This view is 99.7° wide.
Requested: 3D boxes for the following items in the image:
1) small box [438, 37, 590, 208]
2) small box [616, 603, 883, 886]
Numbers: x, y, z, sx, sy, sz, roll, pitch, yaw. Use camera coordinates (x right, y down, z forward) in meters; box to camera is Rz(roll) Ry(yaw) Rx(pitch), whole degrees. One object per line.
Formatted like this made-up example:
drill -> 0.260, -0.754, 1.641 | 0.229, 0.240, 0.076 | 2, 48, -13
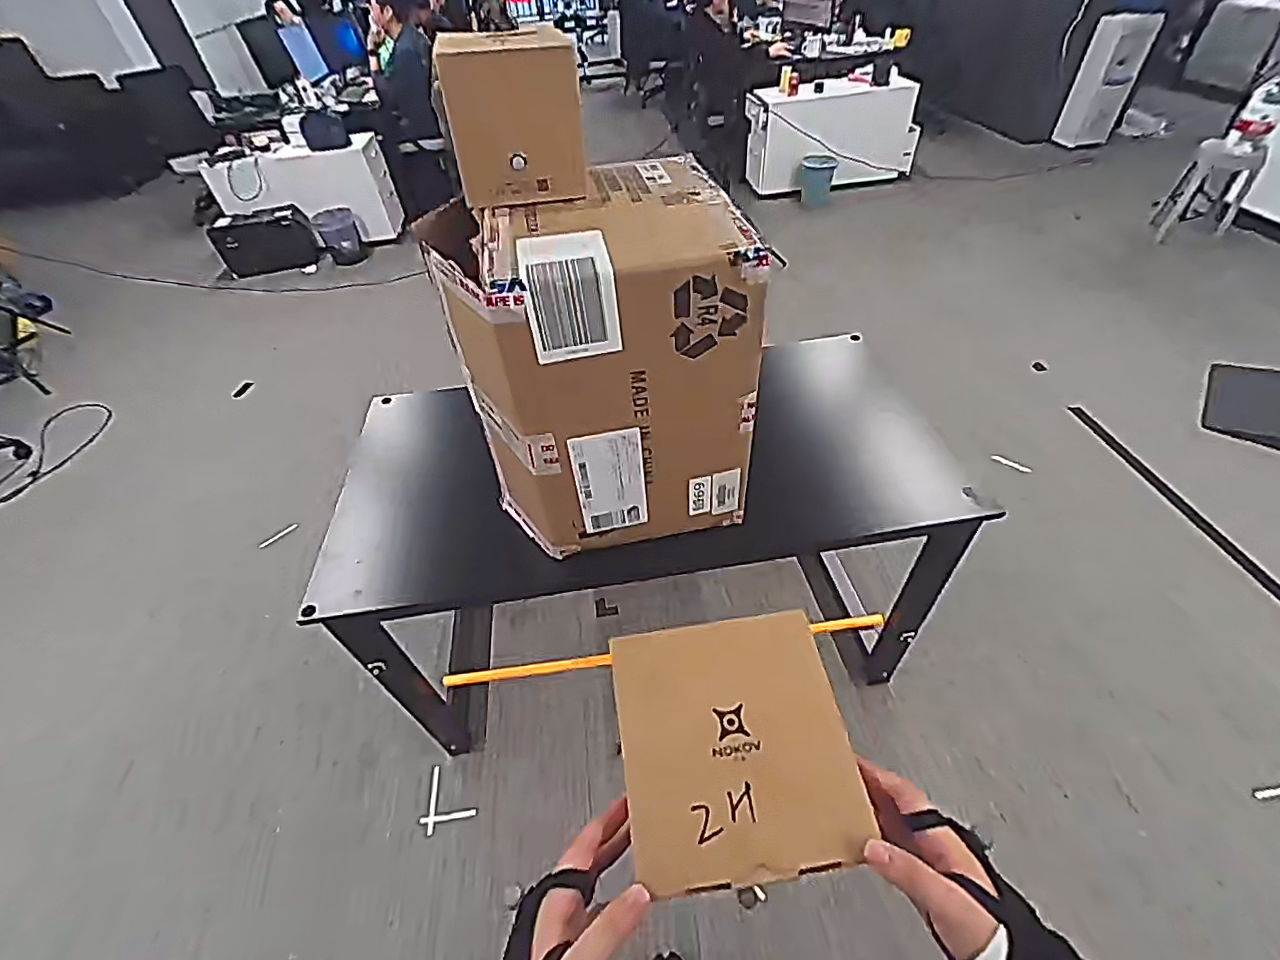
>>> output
small box -> -0.166, -0.487, 0.736 | 0.168, 0.176, 0.179 | -10, 44, -8
small box -> 0.072, 0.229, 0.464 | 0.168, 0.176, 0.179 | -8, 53, -2
